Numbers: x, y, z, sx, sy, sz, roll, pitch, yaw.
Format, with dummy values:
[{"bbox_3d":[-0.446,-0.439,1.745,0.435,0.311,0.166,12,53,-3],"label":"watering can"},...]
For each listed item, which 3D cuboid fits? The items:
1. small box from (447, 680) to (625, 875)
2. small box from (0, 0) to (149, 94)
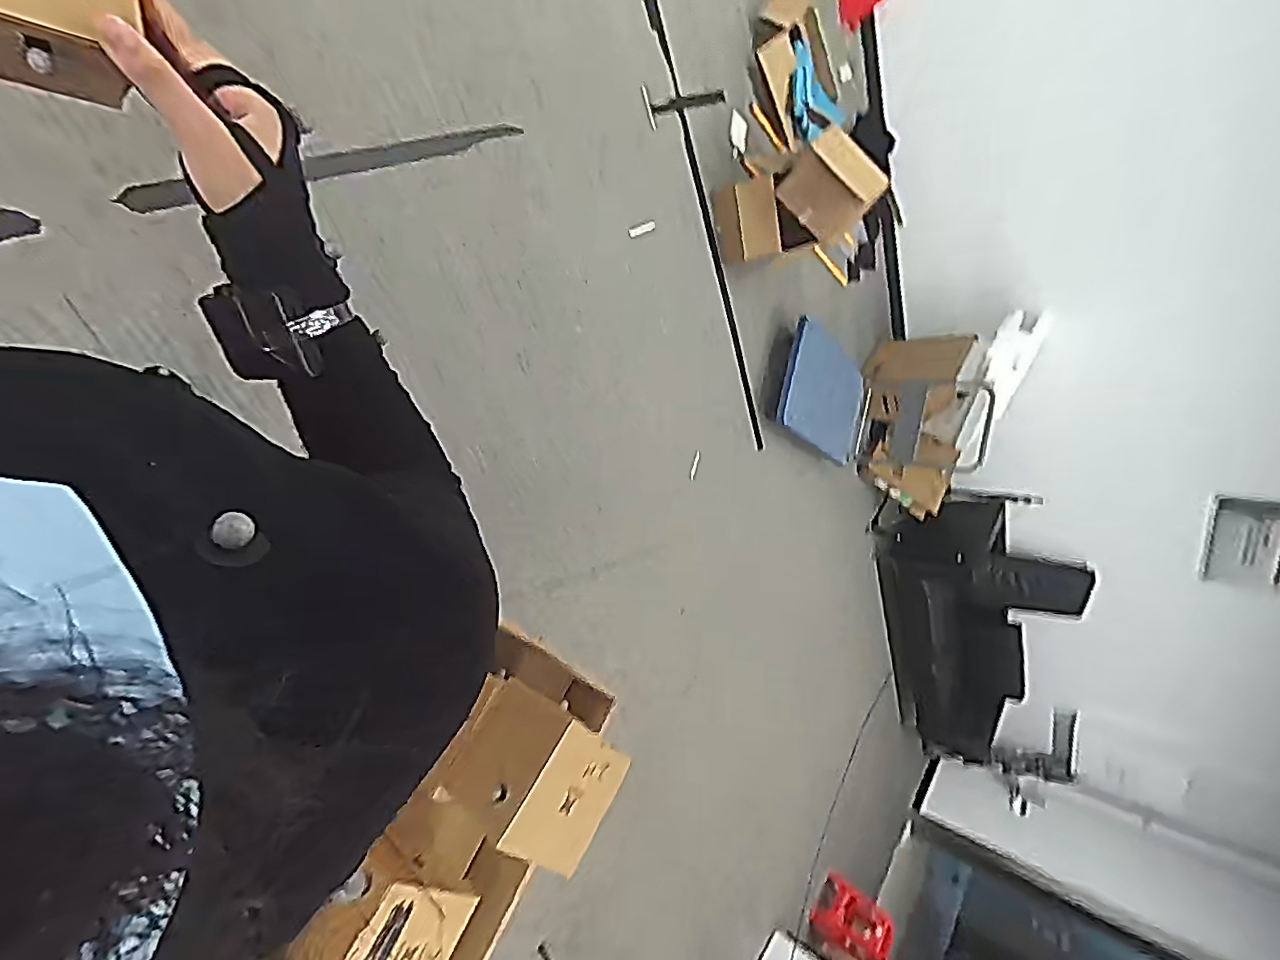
[{"bbox_3d":[-0.161,0.437,0.814,0.179,0.176,0.168,-56,130,-26],"label":"small box"},{"bbox_3d":[-0.371,-0.315,0.258,0.179,0.176,0.168,-13,115,-45],"label":"small box"}]
